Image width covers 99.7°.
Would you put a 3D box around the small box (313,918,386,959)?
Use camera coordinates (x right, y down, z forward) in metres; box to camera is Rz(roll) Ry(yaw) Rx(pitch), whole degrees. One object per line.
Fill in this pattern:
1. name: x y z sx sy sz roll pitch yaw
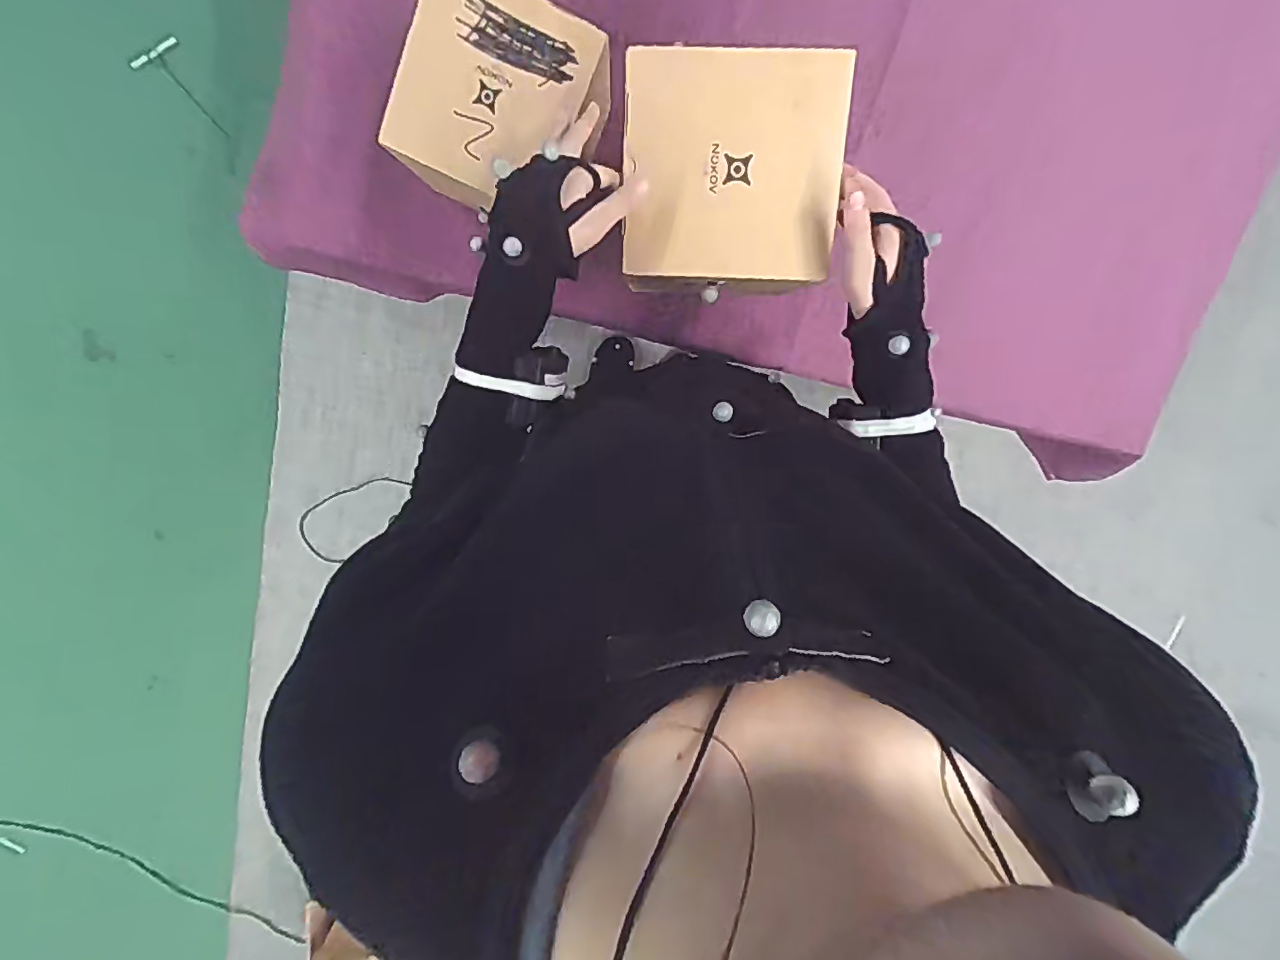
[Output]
1. small box: -0.913 1.508 1.677 0.179 0.176 0.168 11 101 -5
